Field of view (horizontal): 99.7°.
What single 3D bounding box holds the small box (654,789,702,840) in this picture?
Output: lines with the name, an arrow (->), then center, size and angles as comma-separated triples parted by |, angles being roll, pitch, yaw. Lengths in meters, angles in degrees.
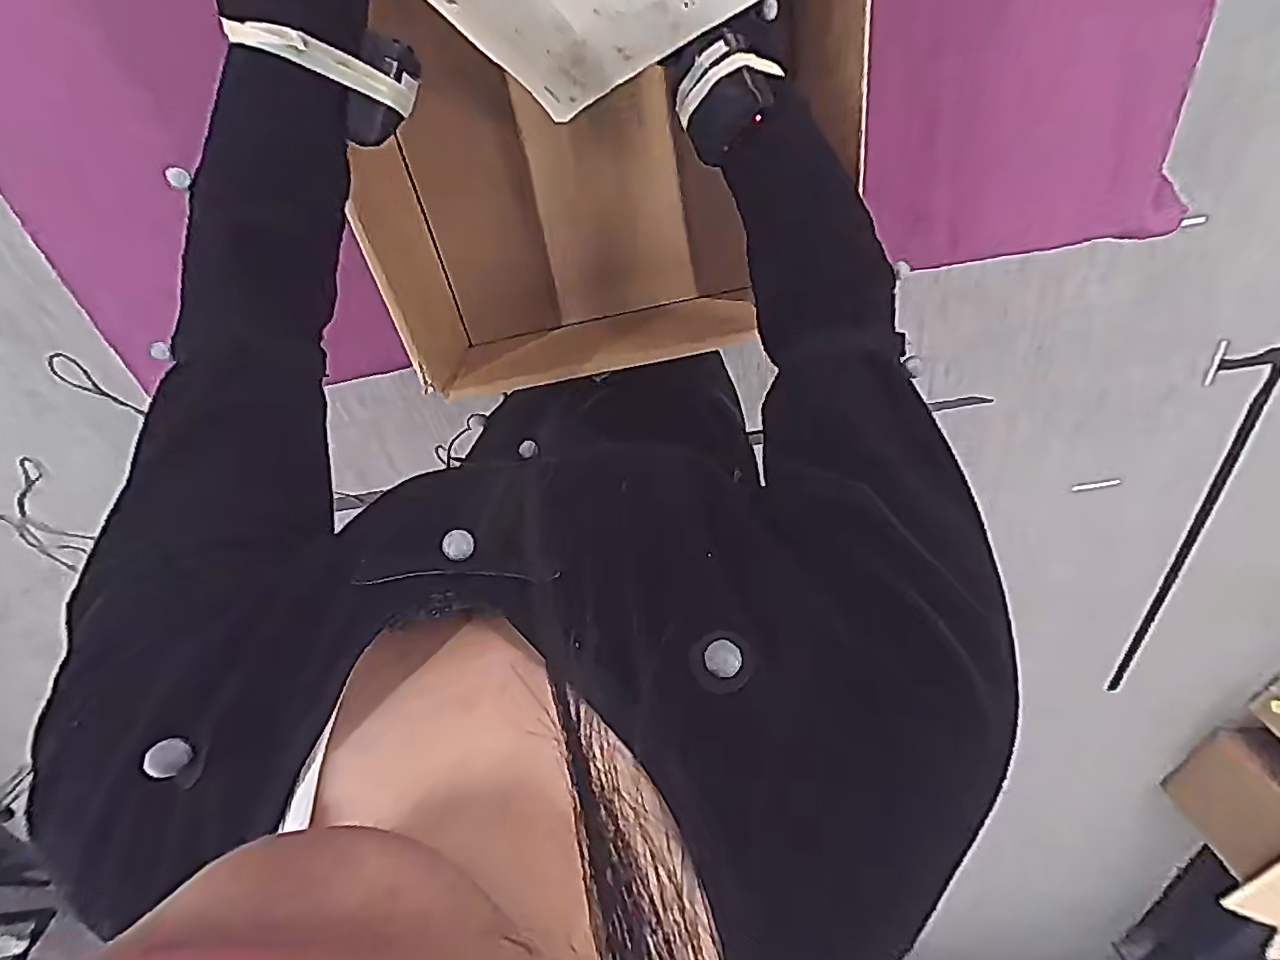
small box -> 0.143, 1.297, 2.053 | 0.168, 0.176, 0.179 | -5, 124, 0

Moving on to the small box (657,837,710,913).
small box -> 0.152, 1.395, 1.921 | 0.168, 0.176, 0.179 | -7, 122, 2
